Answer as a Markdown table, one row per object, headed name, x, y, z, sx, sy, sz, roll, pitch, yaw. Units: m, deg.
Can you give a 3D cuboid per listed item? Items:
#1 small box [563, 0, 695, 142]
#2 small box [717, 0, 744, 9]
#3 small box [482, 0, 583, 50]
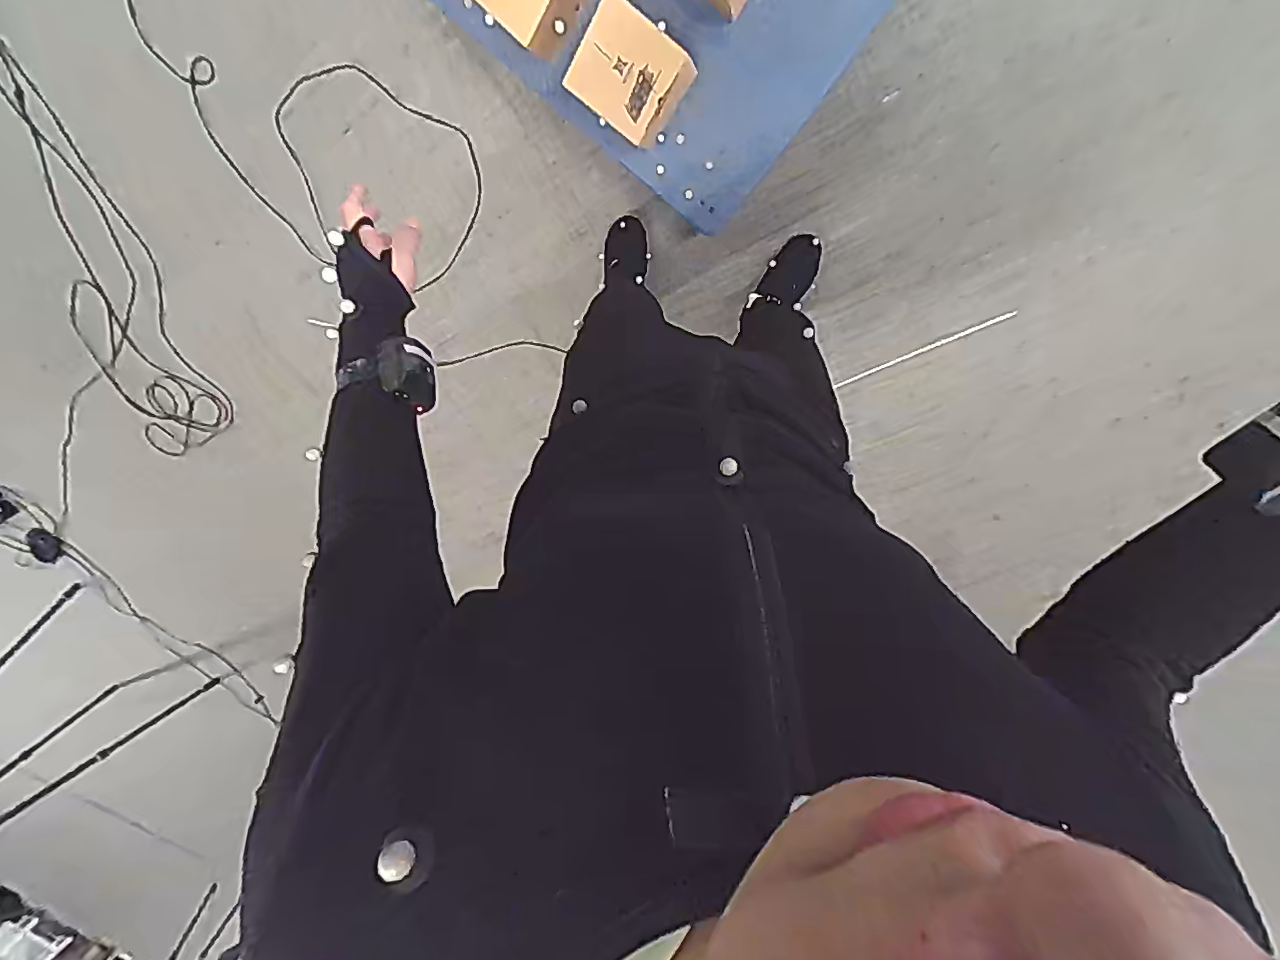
| name | x | y | z | sx | sy | sz | roll | pitch | yaw |
| --- | --- | --- | --- | --- | --- | --- | --- | --- | --- |
| small box | -0.012 | -0.774 | 1.024 | 0.179 | 0.176 | 0.168 | 36 | 120 | -8 |
| small box | 0.137 | -0.939 | 0.899 | 0.179 | 0.176 | 0.168 | 33 | 121 | -8 |
| small box | -0.204 | -0.927 | 0.980 | 0.179 | 0.176 | 0.168 | 39 | 120 | -10 |
